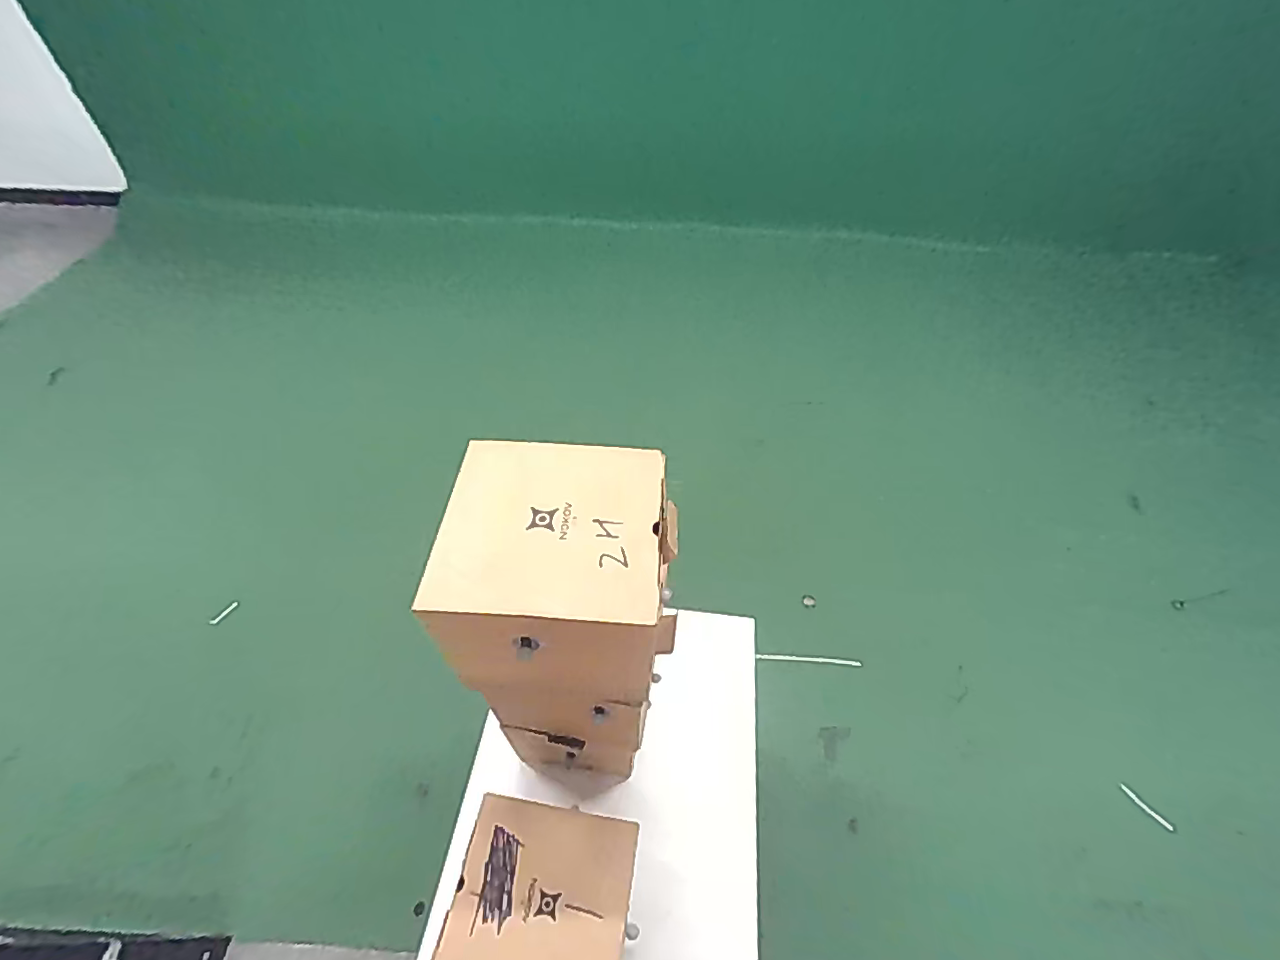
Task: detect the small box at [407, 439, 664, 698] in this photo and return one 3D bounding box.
[{"bbox_3d":[-0.072,0.082,0.480,0.179,0.176,0.168,3,51,0],"label":"small box"}]

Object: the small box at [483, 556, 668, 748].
[{"bbox_3d":[-0.071,0.184,0.610,0.179,0.176,0.168,9,50,5],"label":"small box"}]

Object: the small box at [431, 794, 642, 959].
[{"bbox_3d":[-0.099,0.464,0.583,0.179,0.176,0.168,9,49,5],"label":"small box"}]
